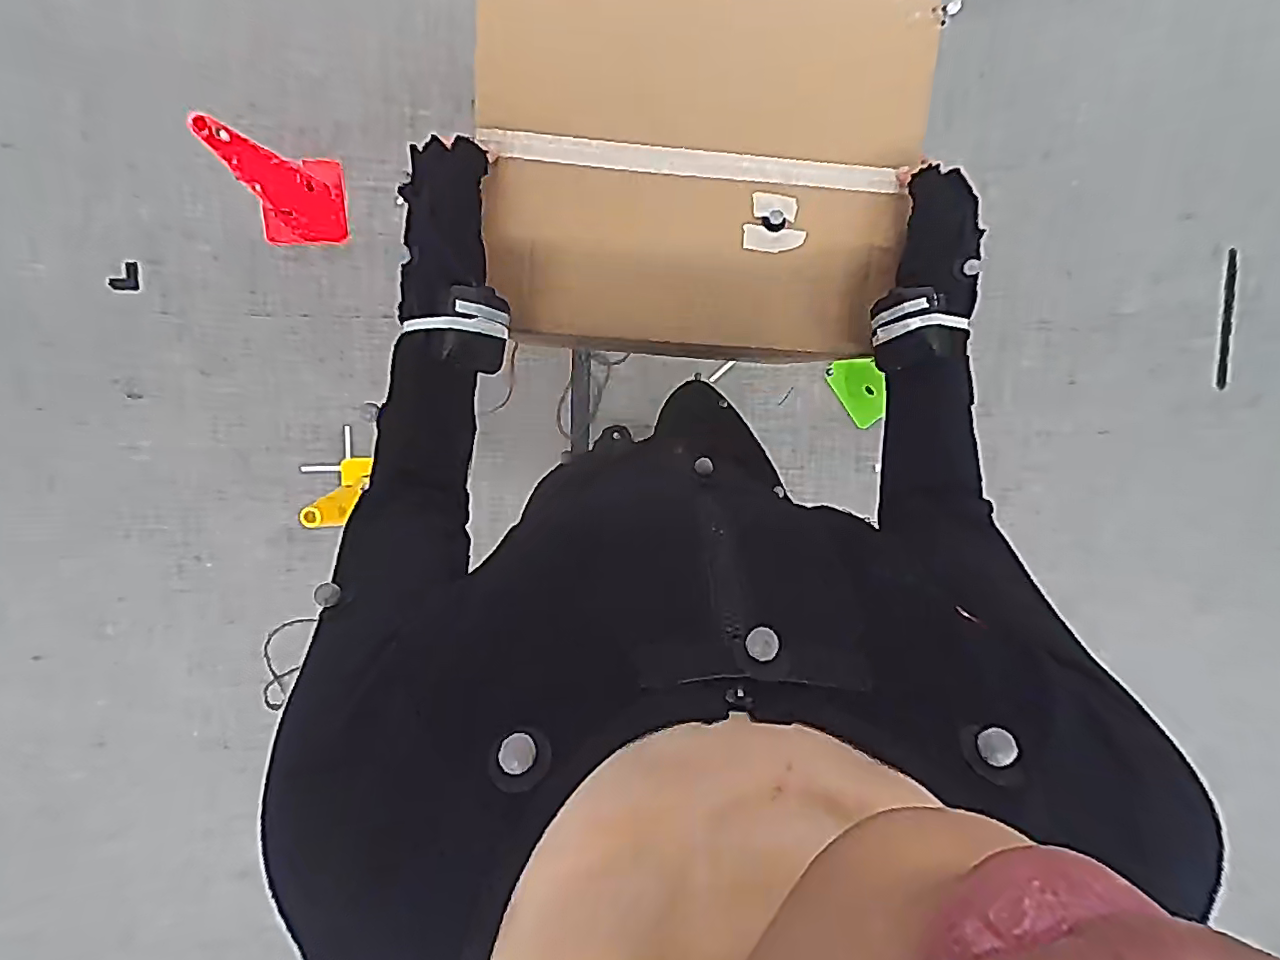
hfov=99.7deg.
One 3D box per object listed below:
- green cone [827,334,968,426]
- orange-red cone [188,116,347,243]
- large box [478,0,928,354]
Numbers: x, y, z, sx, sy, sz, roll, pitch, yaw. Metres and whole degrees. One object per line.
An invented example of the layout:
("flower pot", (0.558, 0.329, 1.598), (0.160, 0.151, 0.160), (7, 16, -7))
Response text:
("green cone", (0.651, -0.261, 1.310), (0.202, 0.368, 0.200), (-37, 97, -1))
("orange-red cone", (-0.824, -0.671, 1.171), (0.198, 0.360, 0.199), (-2, 97, -3))
("large box", (0.041, -0.322, 0.637), (0.408, 0.320, 0.320), (3, 101, -6))
